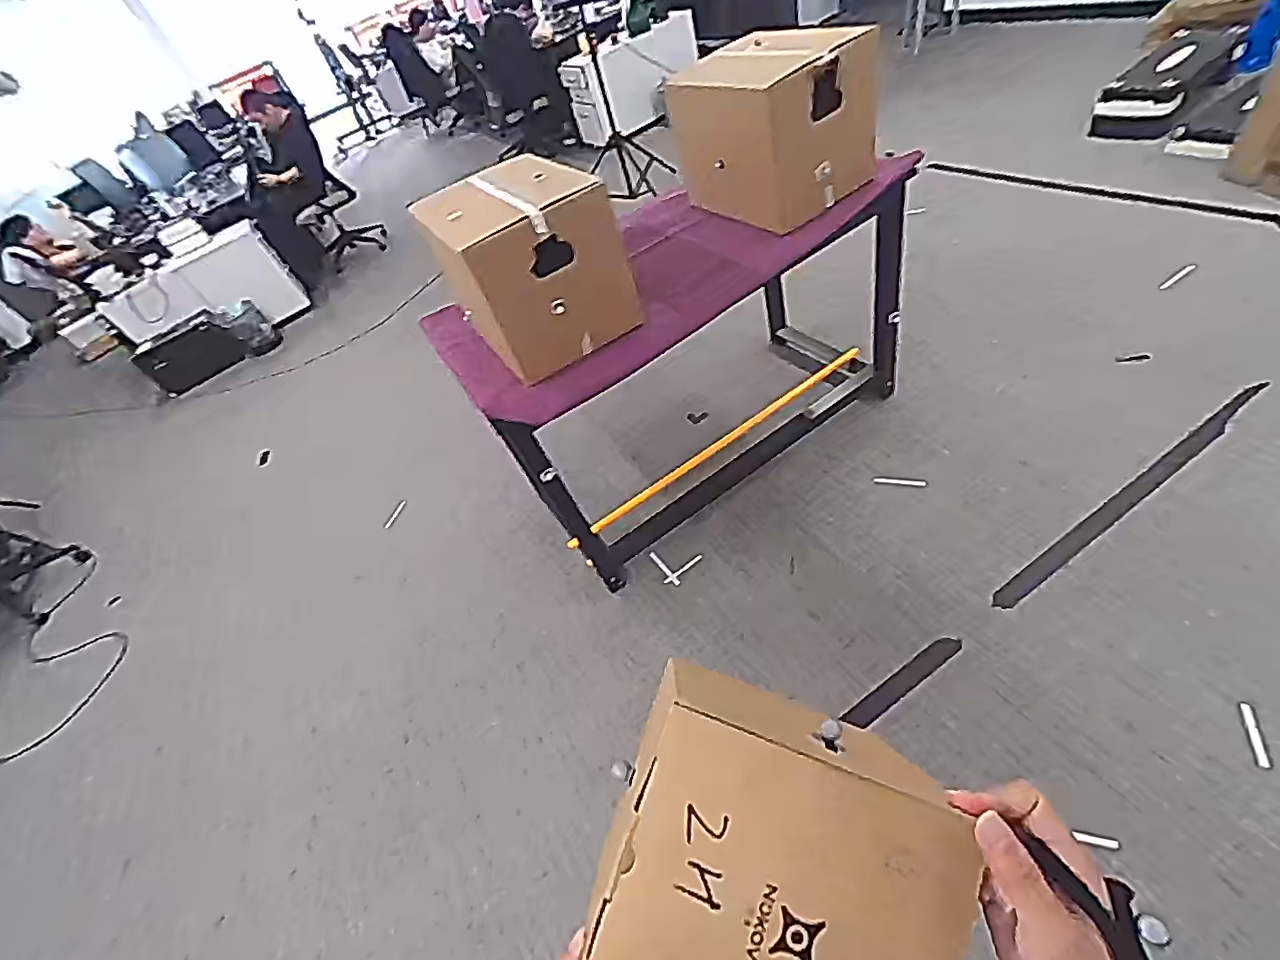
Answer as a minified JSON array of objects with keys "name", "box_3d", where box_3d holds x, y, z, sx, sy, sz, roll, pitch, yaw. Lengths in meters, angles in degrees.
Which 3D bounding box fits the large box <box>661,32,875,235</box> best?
[{"name":"large box","box_3d":[0.319,-0.856,1.346,0.320,0.320,0.408,-34,45,-11]}]
